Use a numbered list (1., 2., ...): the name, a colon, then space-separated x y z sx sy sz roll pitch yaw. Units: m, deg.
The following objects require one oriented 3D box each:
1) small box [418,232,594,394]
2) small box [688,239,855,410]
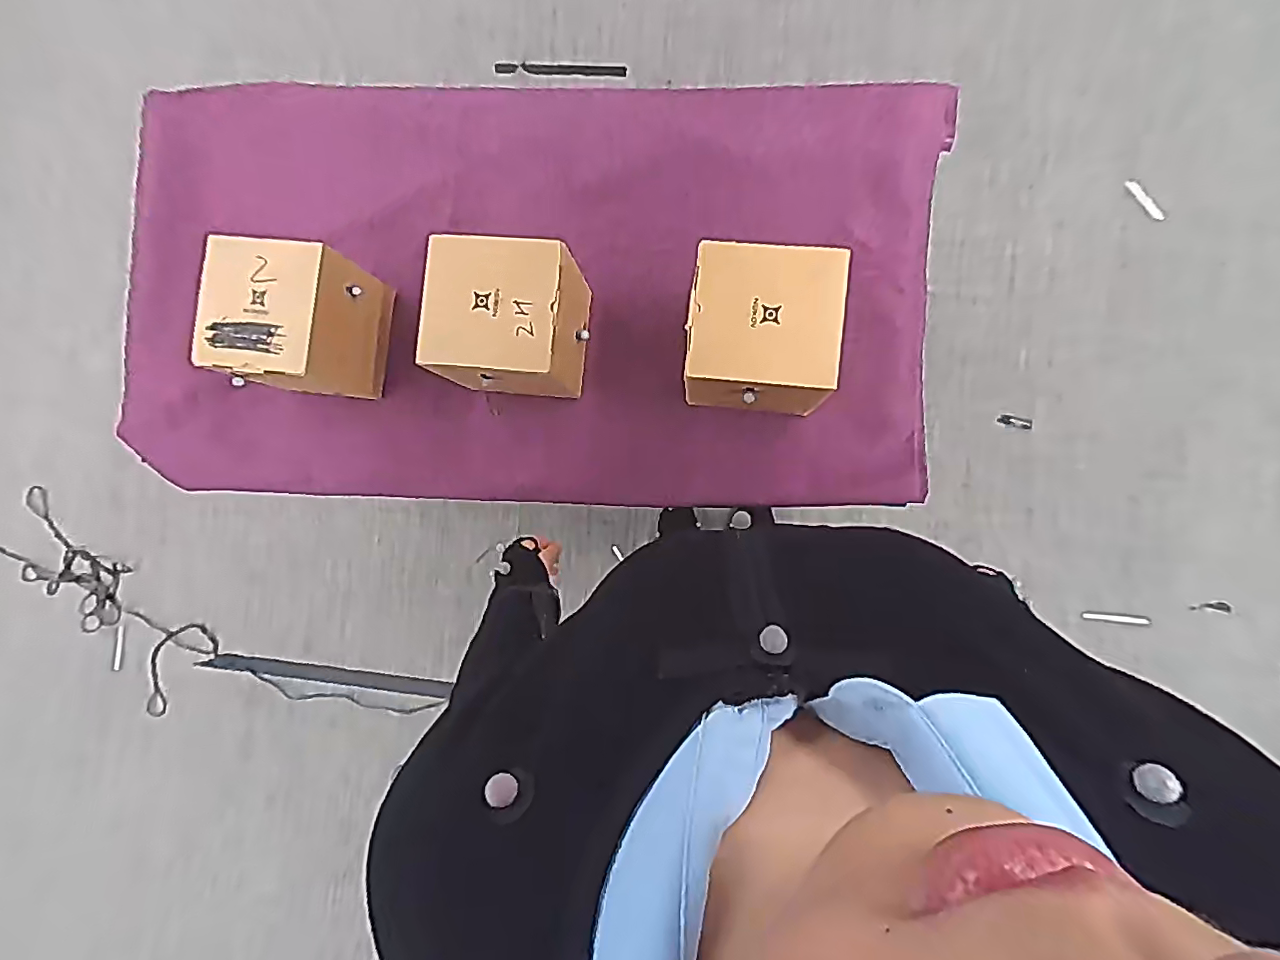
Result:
1. small box: -0.172 -0.217 0.740 0.179 0.176 0.168 6 89 7
2. small box: 0.160 -0.189 0.702 0.179 0.176 0.168 6 88 8
